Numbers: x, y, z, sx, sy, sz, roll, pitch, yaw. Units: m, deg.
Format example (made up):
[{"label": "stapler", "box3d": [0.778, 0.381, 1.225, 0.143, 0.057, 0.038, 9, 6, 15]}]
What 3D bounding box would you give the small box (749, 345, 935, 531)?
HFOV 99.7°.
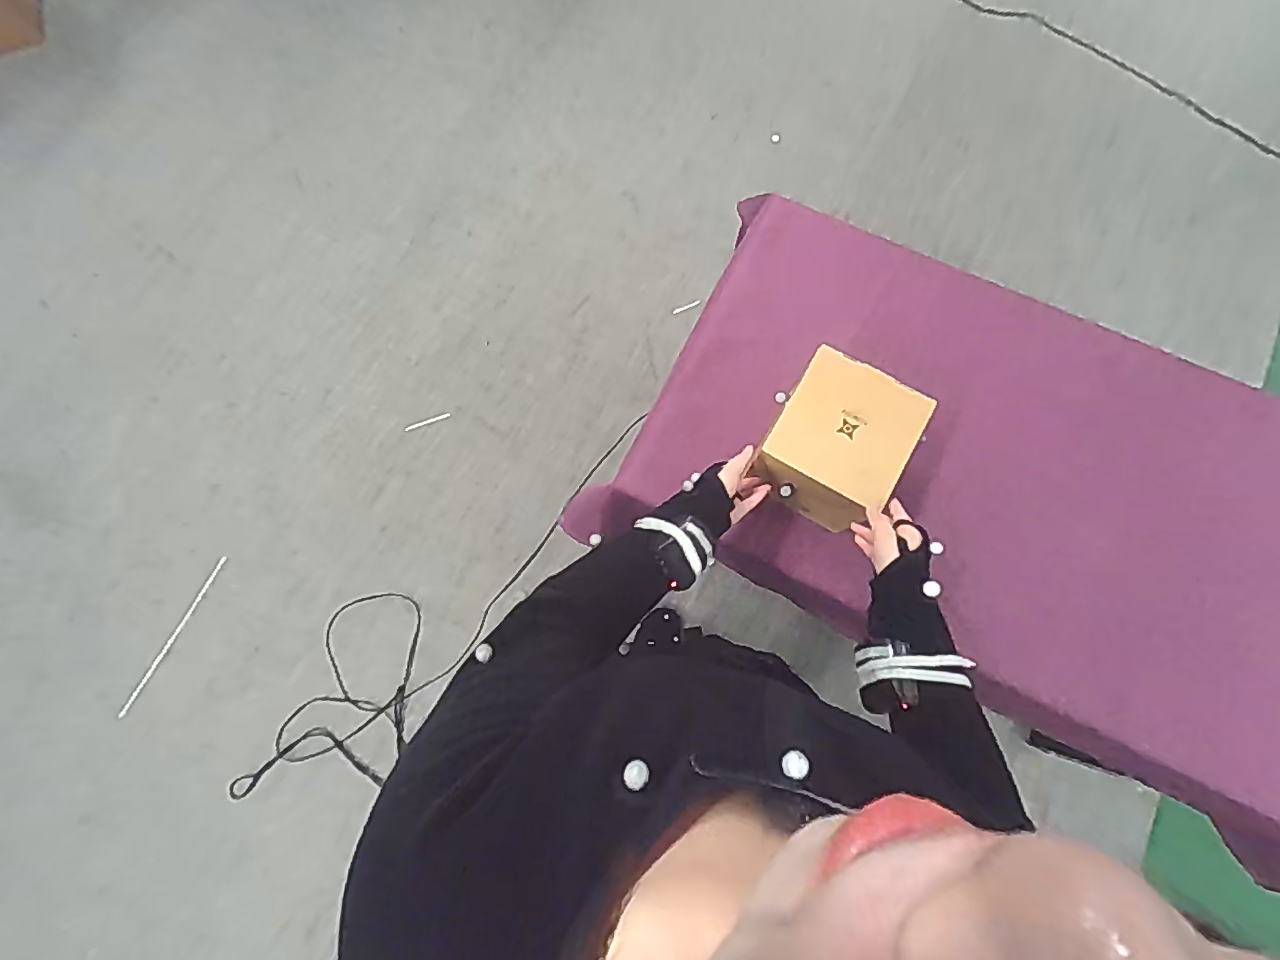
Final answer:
[{"label": "small box", "box3d": [0.267, -0.048, 0.760, 0.168, 0.176, 0.179, 30, 78, 9]}]
